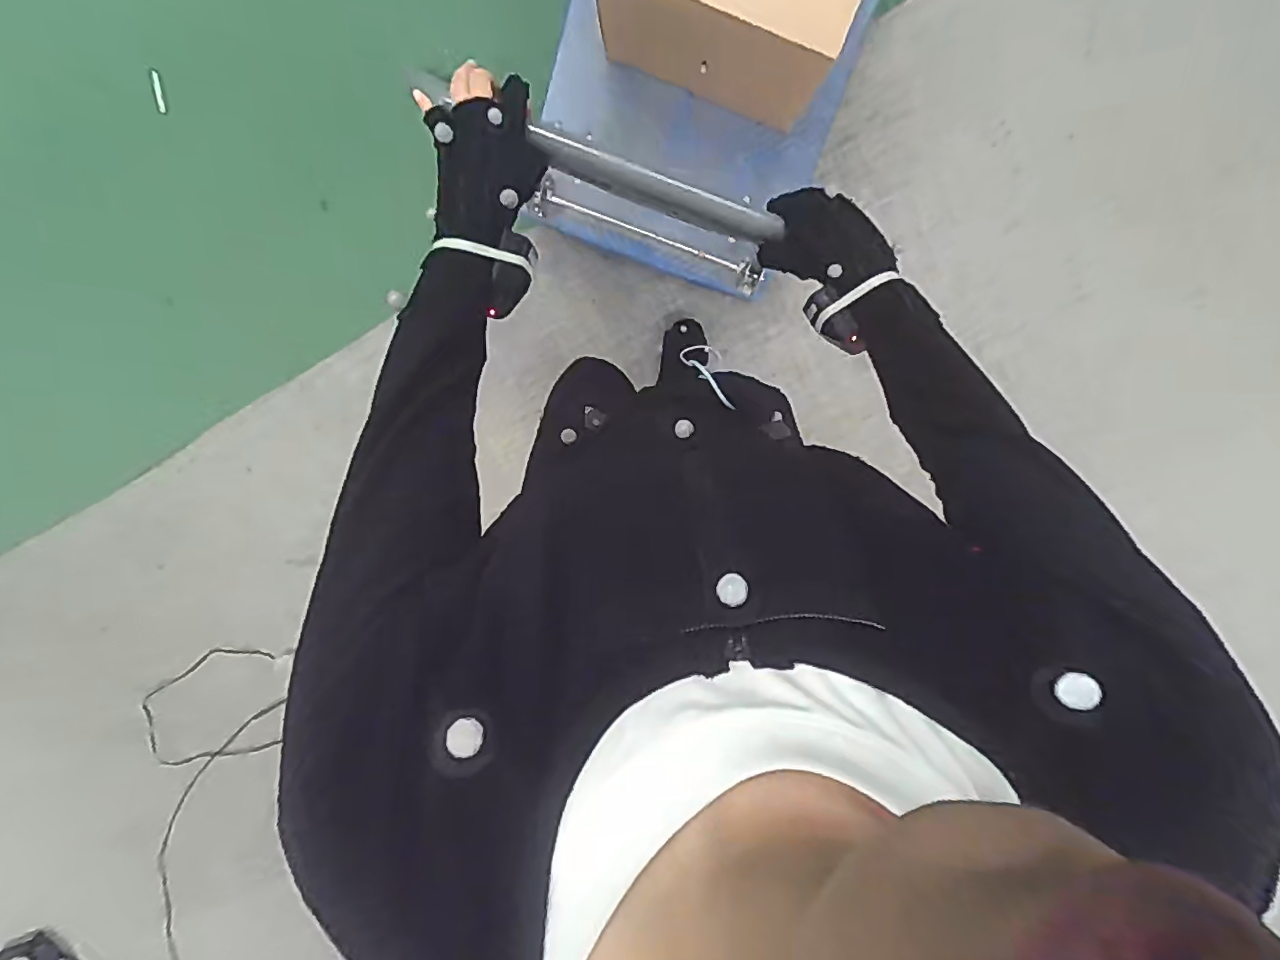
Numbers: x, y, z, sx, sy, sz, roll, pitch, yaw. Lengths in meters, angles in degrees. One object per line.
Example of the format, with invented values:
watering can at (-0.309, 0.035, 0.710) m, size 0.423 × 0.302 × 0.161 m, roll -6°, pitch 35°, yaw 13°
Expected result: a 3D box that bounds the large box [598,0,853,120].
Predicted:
large box at (0.166, -0.896, 0.920) m, size 0.408 × 0.320 × 0.320 m, roll 20°, pitch 103°, yaw -3°
